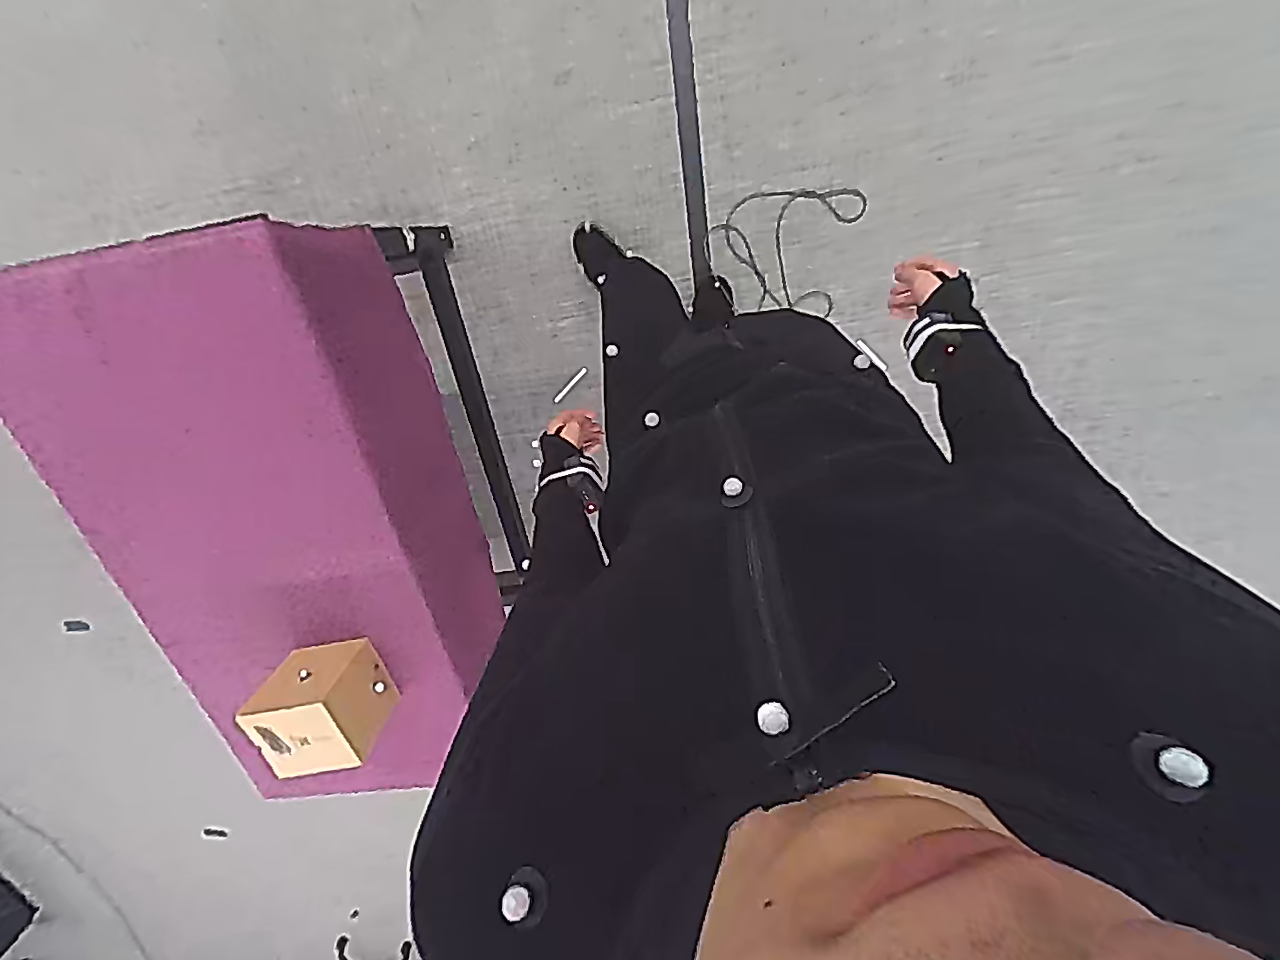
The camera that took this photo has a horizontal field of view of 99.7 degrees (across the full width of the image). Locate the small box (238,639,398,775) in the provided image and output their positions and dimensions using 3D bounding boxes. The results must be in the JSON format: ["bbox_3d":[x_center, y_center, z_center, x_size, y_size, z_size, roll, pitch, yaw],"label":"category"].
[{"bbox_3d":[-0.613,0.437,1.054,0.179,0.176,0.168,-12,114,7],"label":"small box"}]
